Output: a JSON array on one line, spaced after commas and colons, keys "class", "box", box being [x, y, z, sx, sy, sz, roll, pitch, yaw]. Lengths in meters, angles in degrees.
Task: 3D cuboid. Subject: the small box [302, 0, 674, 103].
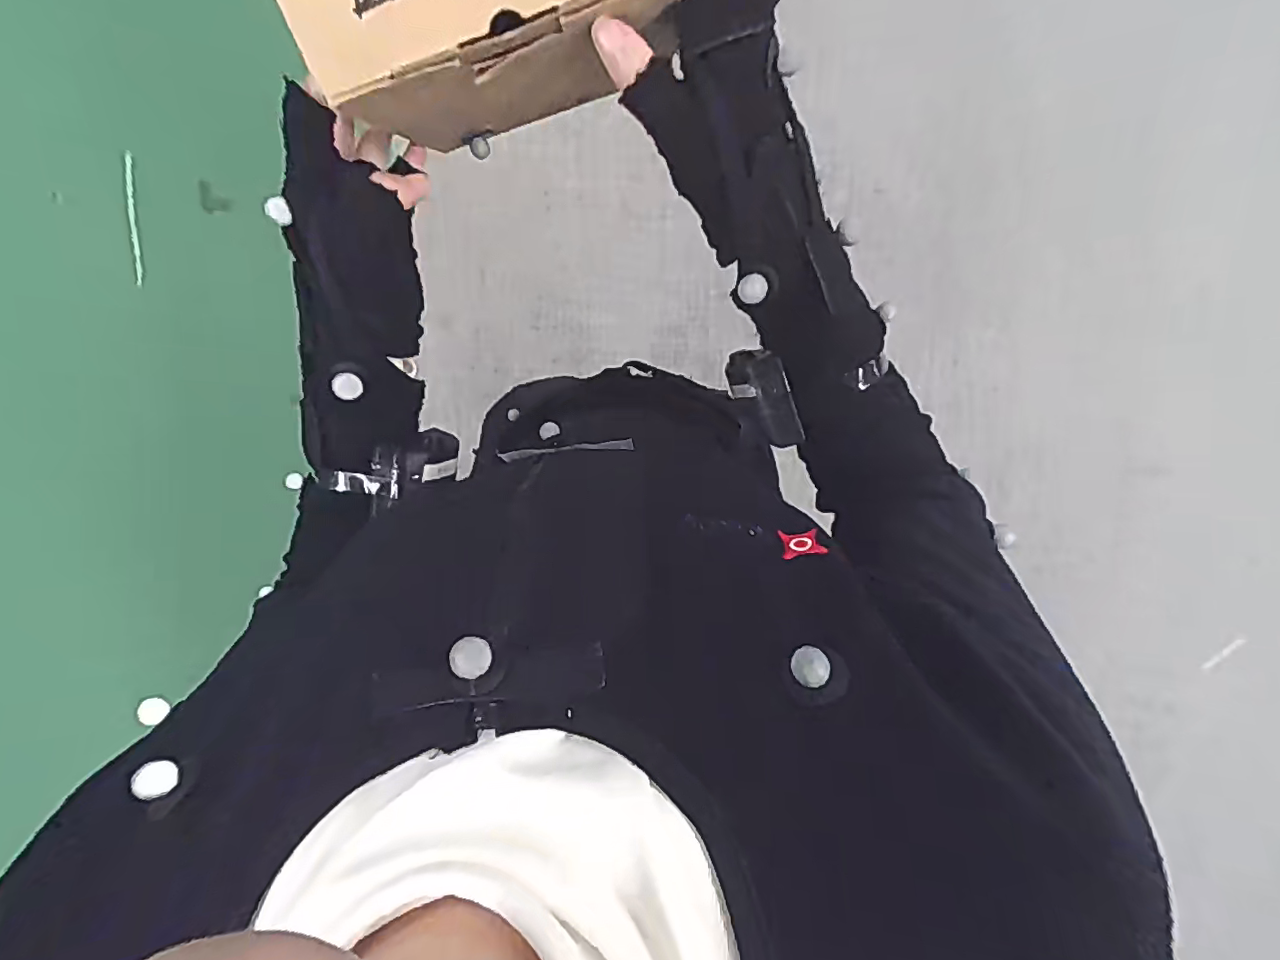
[{"class": "small box", "box": [-0.076, -0.306, 0.255, 0.168, 0.176, 0.179, -14, 113, 5]}]
